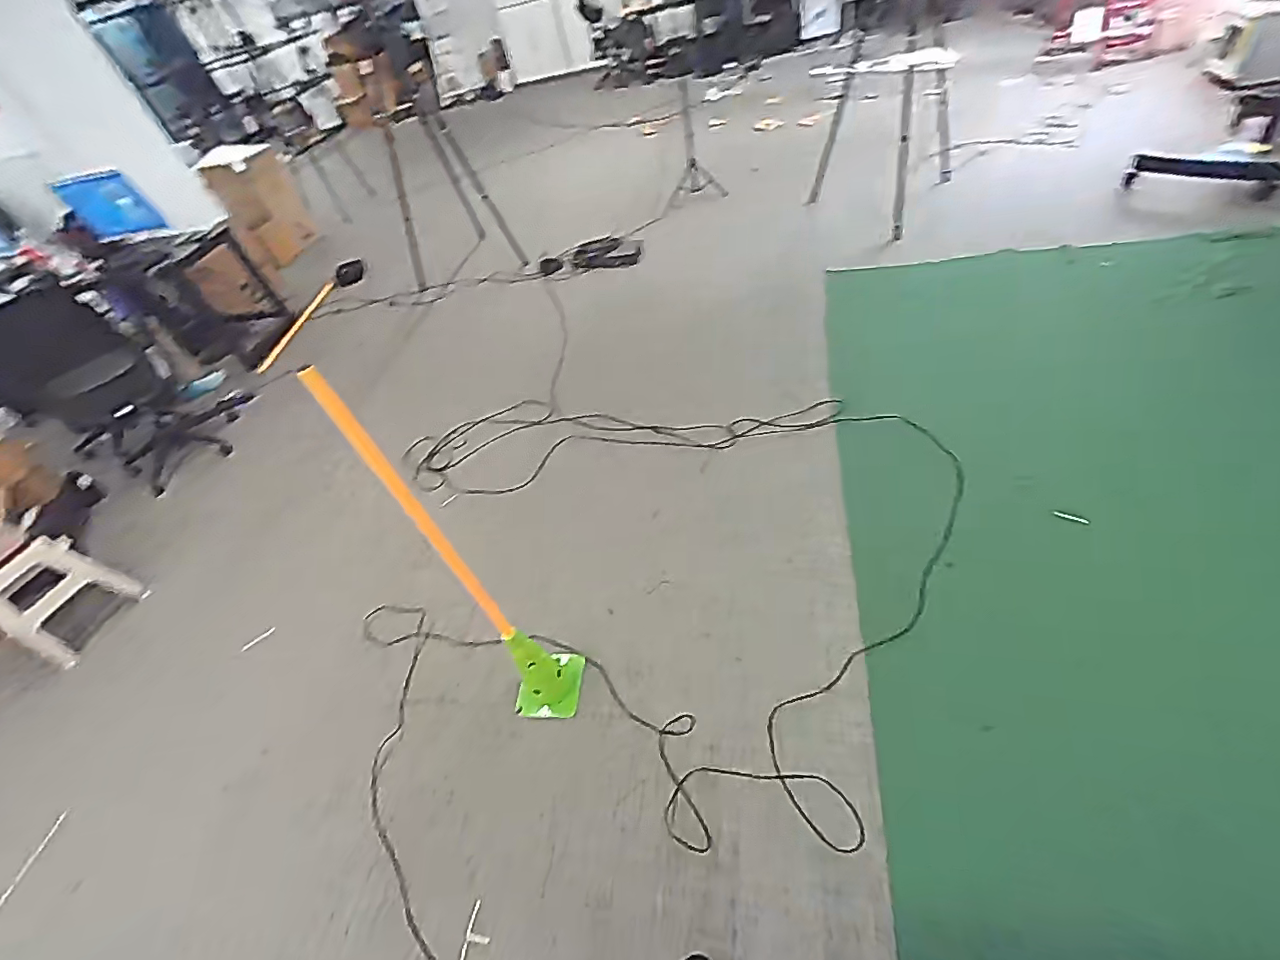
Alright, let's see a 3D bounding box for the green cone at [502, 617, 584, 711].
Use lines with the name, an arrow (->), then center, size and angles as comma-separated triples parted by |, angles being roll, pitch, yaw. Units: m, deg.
green cone -> -0.322, 0.519, 1.606 | 0.200, 0.368, 0.202 | -3, 46, 13
